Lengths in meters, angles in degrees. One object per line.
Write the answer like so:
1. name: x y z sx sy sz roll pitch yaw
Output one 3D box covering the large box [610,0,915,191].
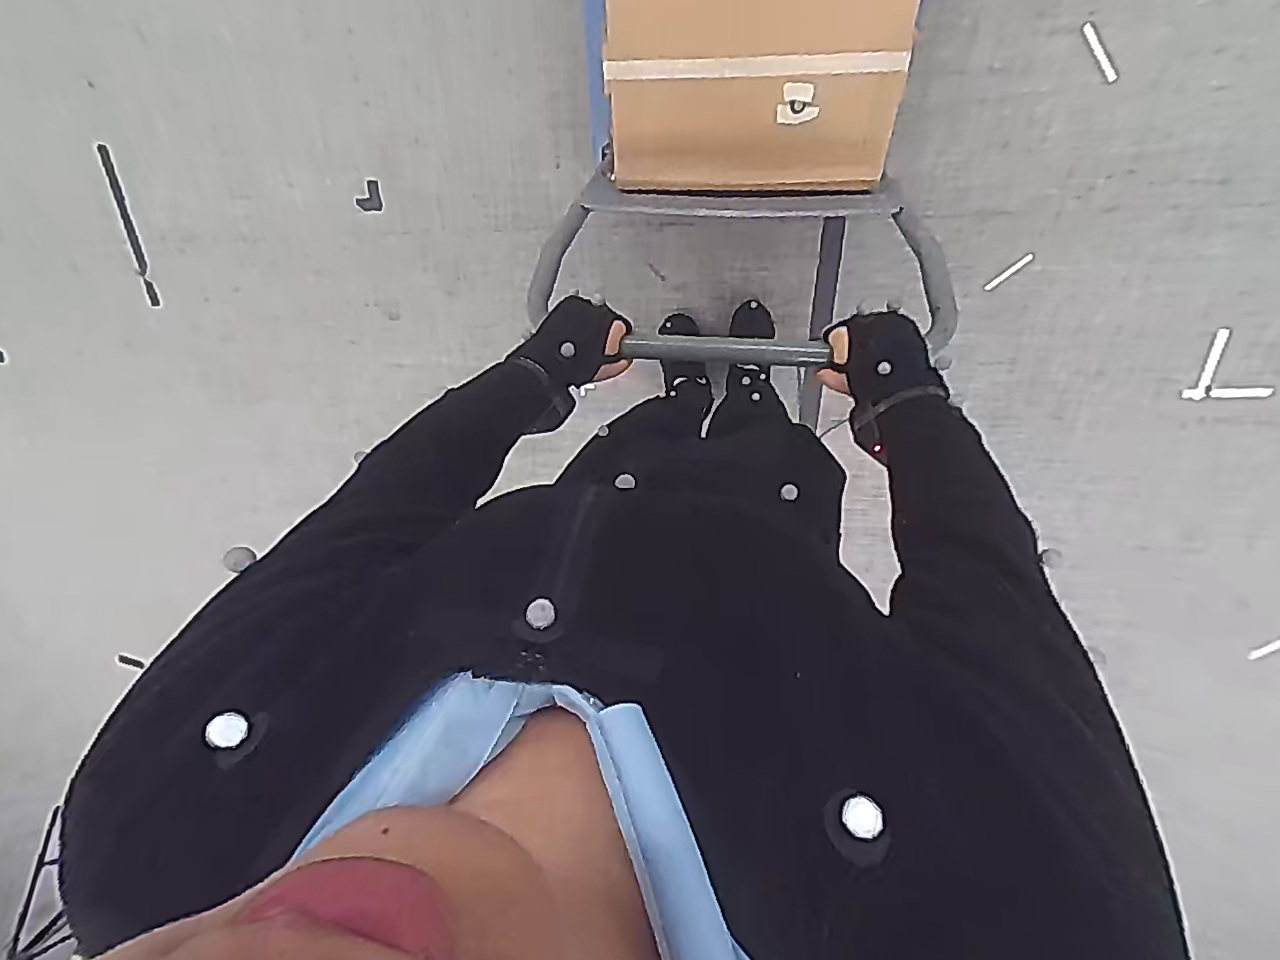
1. large box: 0.177 -0.675 0.870 0.408 0.320 0.320 3 130 7
